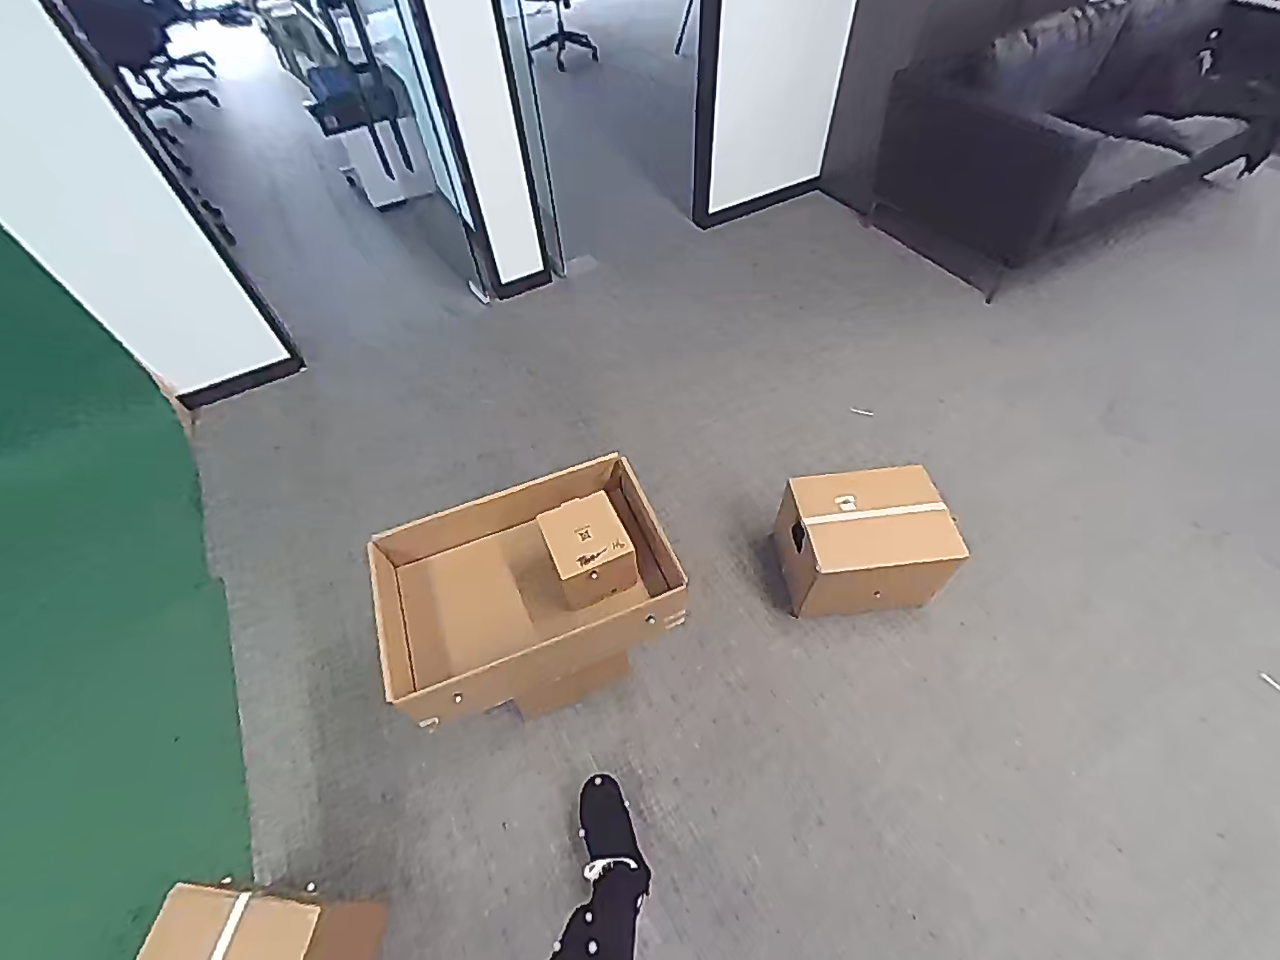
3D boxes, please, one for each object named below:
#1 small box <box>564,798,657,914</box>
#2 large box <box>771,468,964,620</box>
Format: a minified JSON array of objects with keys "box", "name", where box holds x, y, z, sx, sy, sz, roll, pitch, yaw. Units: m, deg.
[{"box":[-0.059,0.851,1.244,0.168,0.176,0.179,10,63,11],"name":"small box"},{"box":[0.643,0.196,1.606,0.408,0.320,0.320,-7,53,-2],"name":"large box"}]
